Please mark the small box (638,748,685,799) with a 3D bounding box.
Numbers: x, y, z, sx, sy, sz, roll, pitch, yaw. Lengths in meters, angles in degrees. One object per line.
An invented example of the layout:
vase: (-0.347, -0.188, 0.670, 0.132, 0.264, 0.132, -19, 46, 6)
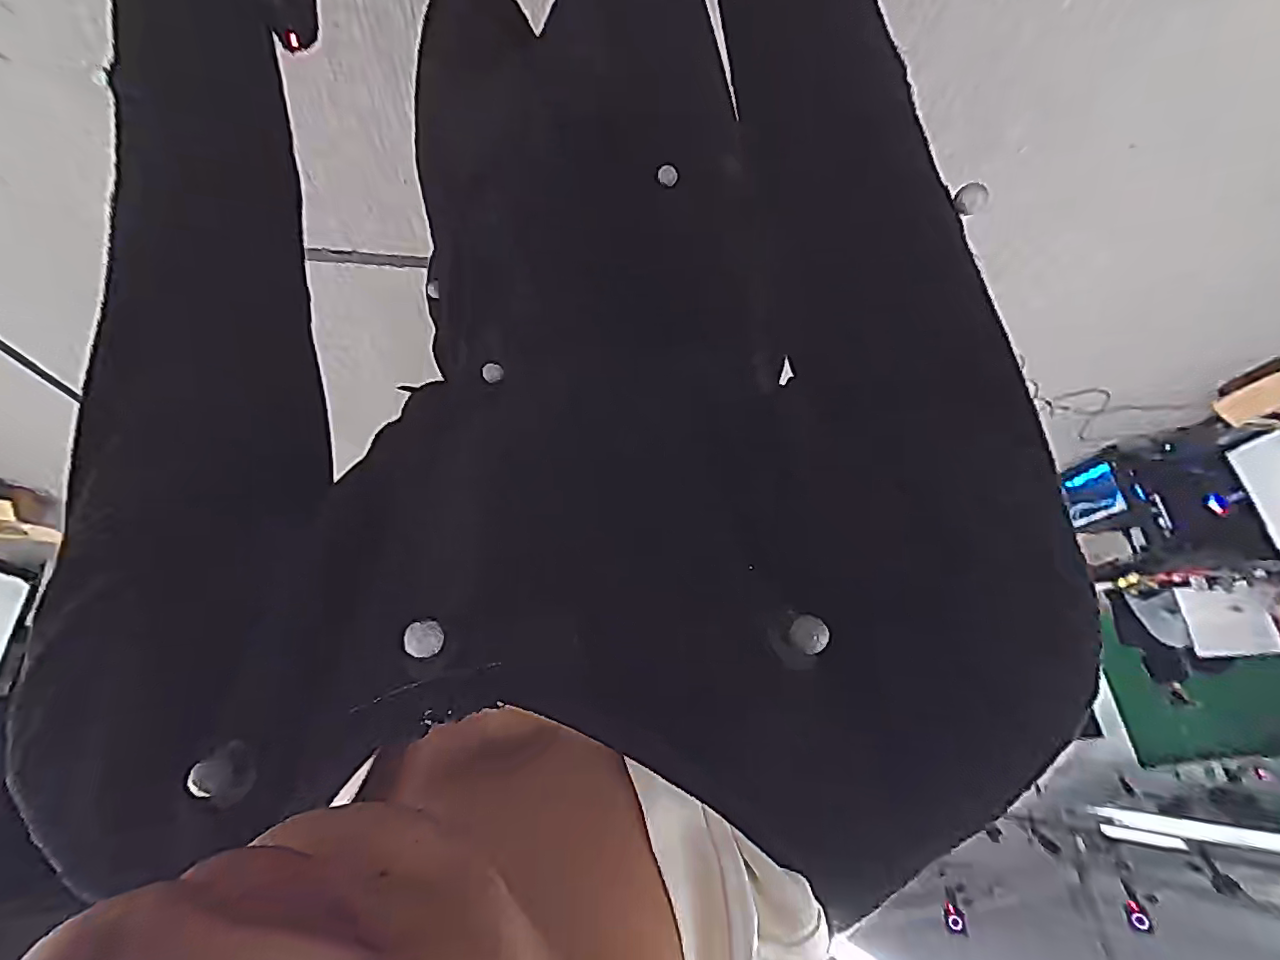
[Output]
small box: (0.086, 1.253, 2.317, 0.168, 0.176, 0.179, 1, 156, -10)
